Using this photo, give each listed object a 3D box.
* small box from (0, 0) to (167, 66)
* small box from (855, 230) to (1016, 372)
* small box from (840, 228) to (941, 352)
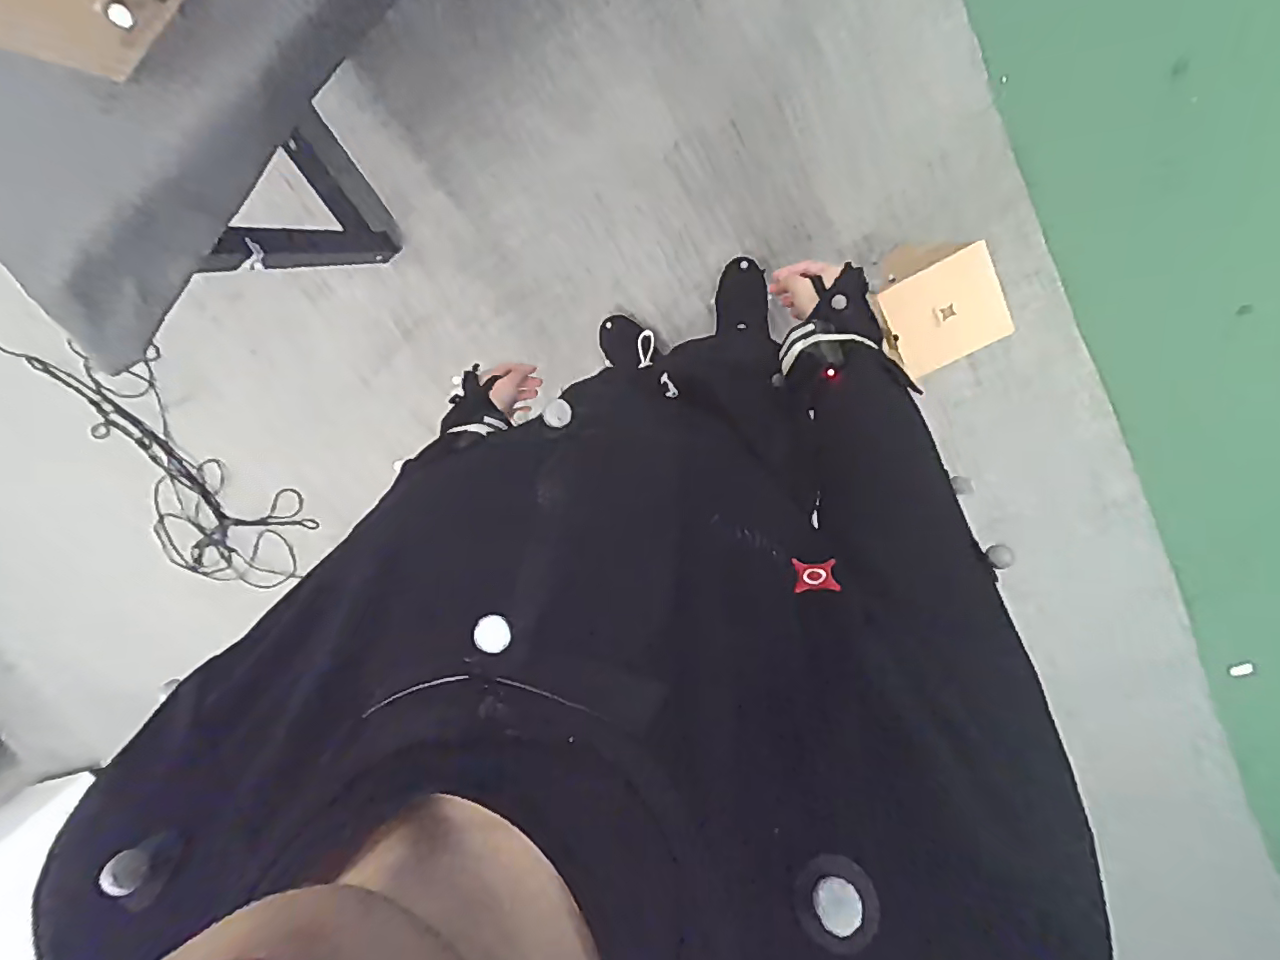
[{"bbox_3d":[-0.505,-0.467,0.404,0.168,0.176,0.179,-31,107,19],"label":"small box"},{"bbox_3d":[0.508,-0.320,0.951,0.179,0.176,0.168,-26,108,18],"label":"small box"},{"bbox_3d":[0.525,-0.387,1.100,0.179,0.176,0.168,-28,107,19],"label":"small box"}]
